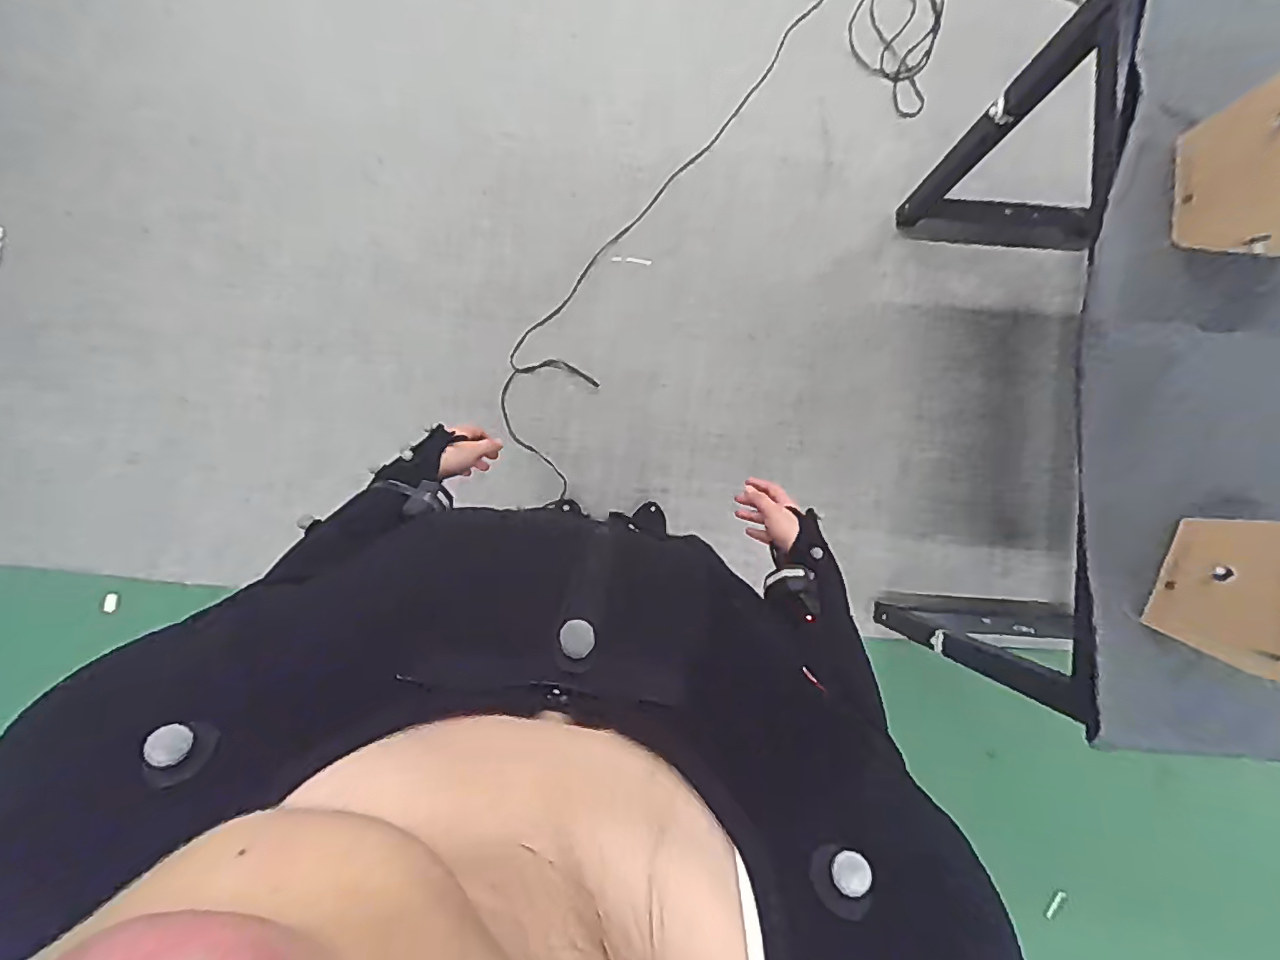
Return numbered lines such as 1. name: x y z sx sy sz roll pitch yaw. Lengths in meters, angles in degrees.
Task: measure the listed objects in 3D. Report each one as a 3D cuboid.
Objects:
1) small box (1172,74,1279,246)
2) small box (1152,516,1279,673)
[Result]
1. small box: 0.872 -0.427 0.712 0.179 0.176 0.168 4 88 -2
2. small box: 0.823 0.152 0.684 0.179 0.176 0.168 25 88 -2
